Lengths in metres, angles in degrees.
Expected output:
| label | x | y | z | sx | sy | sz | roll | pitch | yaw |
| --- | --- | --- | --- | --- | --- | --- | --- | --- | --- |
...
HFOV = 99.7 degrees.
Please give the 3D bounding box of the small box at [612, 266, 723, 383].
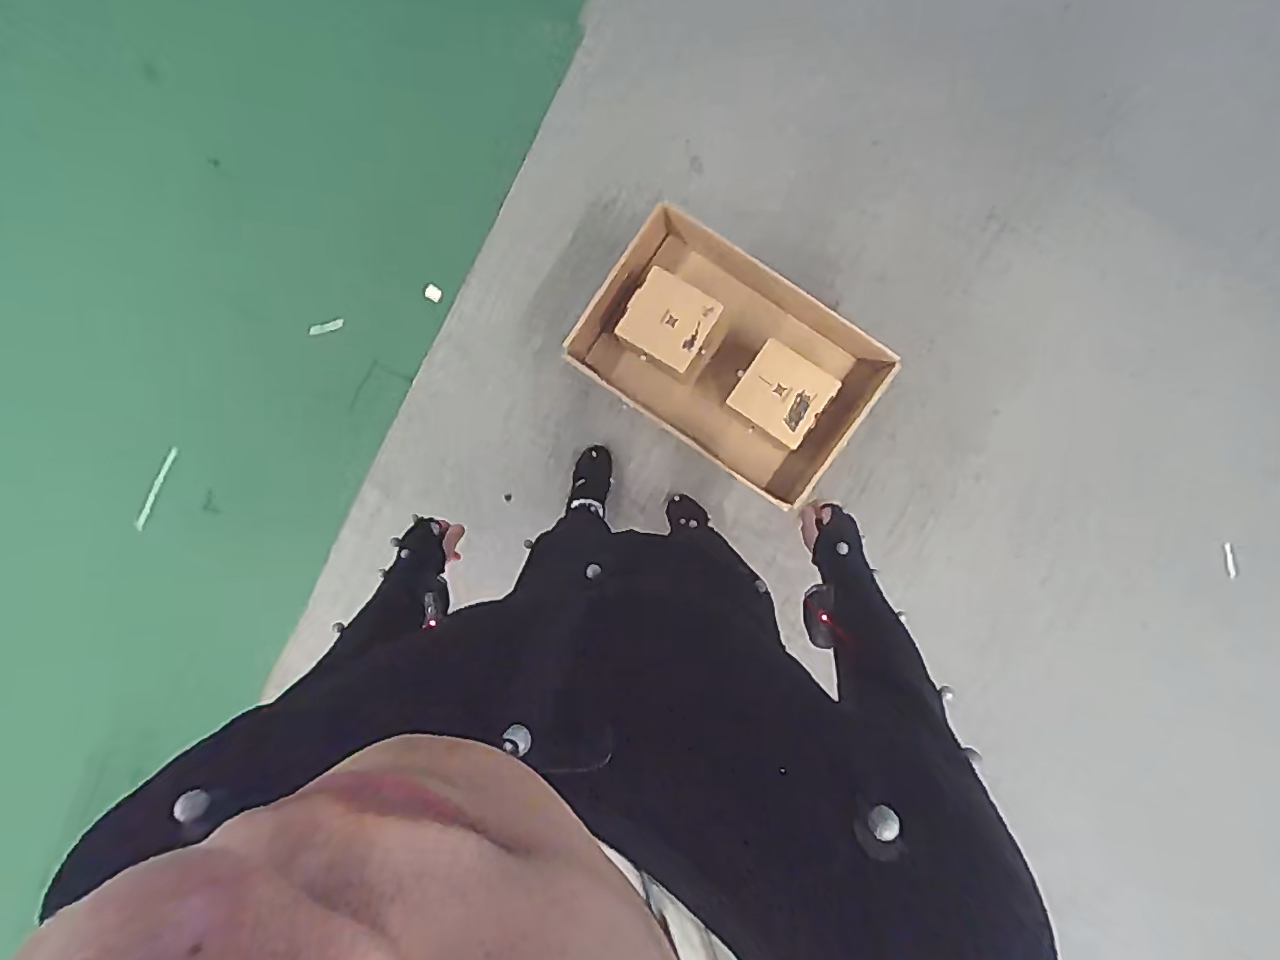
| label | x | y | z | sx | sy | sz | roll | pitch | yaw |
| --- | --- | --- | --- | --- | --- | --- | --- | --- | --- |
| small box | 0.065 | -0.331 | 1.192 | 0.179 | 0.176 | 0.168 | 33 | 95 | 5 |
